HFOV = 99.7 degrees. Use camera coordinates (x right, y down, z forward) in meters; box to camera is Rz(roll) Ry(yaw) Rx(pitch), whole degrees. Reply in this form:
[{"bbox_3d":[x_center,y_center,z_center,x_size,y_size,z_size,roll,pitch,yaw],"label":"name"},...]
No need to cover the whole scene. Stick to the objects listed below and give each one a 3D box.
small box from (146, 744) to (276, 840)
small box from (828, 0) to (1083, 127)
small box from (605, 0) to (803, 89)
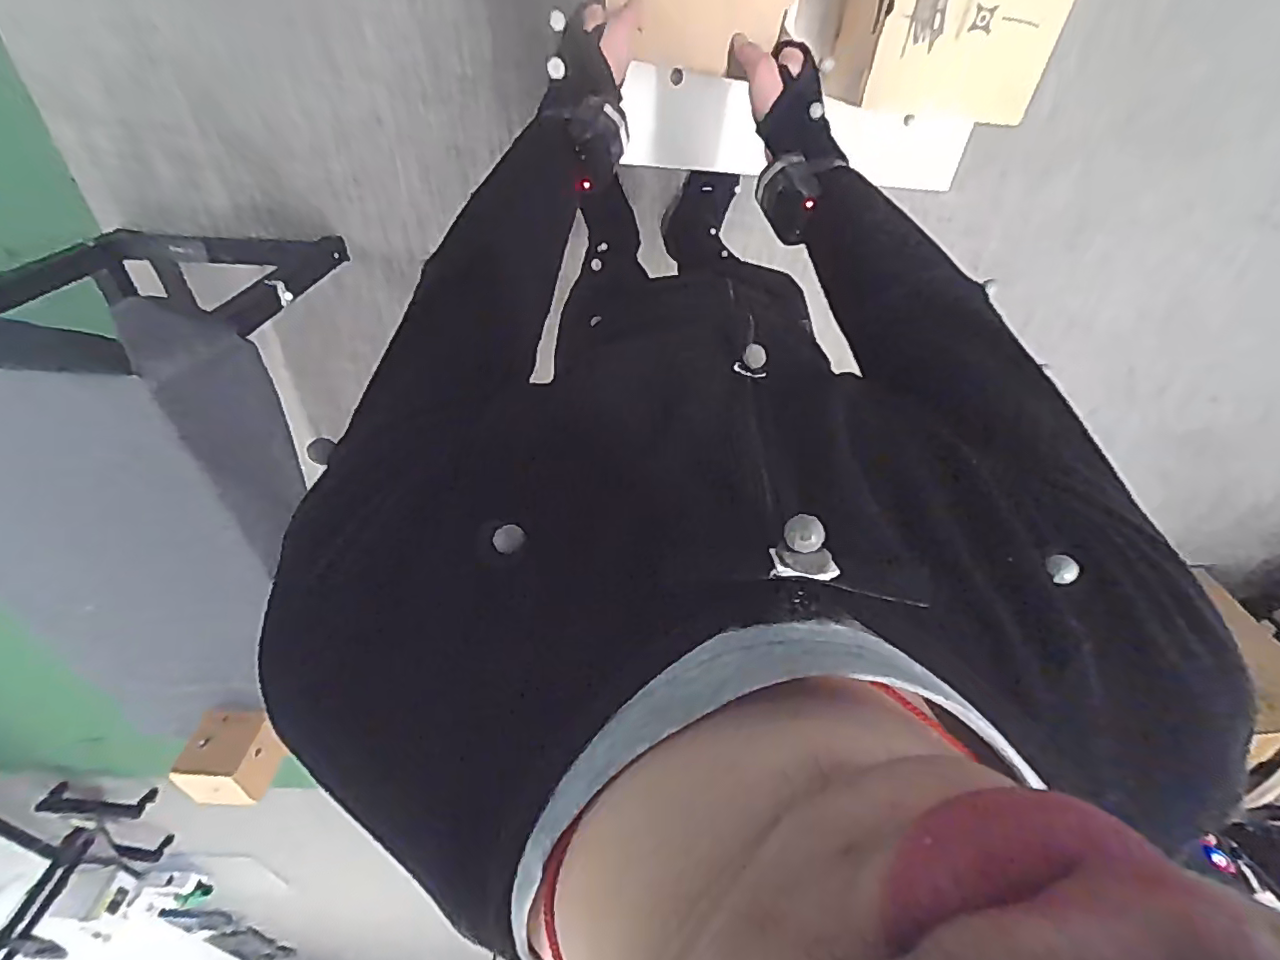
[{"bbox_3d":[-1.074,0.789,1.372,0.168,0.176,0.179,2,129,-1],"label":"small box"},{"bbox_3d":[0.323,-0.486,0.571,0.179,0.176,0.168,2,129,-5],"label":"small box"},{"bbox_3d":[0.062,-0.510,0.540,0.179,0.176,0.168,4,126,-9],"label":"small box"}]
